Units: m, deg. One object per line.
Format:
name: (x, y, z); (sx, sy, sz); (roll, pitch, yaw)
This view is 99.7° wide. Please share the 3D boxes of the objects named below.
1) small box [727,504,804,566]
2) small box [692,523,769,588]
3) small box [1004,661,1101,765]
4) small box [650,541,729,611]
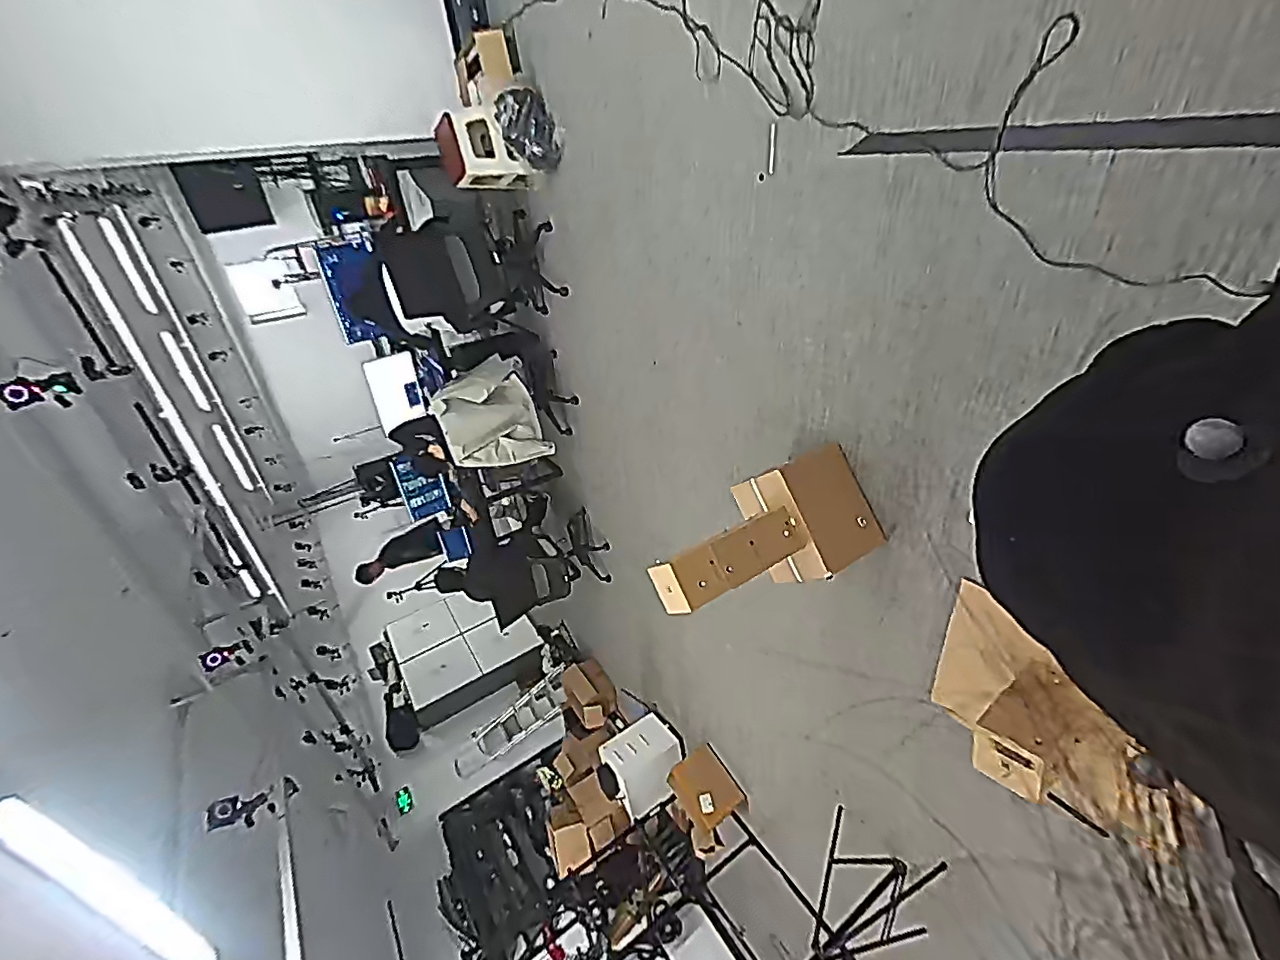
small box: (0.440, 0.202, 1.899); (0.168, 0.176, 0.179); (65, 154, 5)
small box: (0.303, 0.260, 1.830); (0.168, 0.176, 0.179); (65, 155, 4)
small box: (1.178, 0.659, 1.545); (0.168, 0.176, 0.179); (23, 130, 52)
small box: (0.167, 0.312, 1.757); (0.168, 0.176, 0.179); (65, 154, 5)
